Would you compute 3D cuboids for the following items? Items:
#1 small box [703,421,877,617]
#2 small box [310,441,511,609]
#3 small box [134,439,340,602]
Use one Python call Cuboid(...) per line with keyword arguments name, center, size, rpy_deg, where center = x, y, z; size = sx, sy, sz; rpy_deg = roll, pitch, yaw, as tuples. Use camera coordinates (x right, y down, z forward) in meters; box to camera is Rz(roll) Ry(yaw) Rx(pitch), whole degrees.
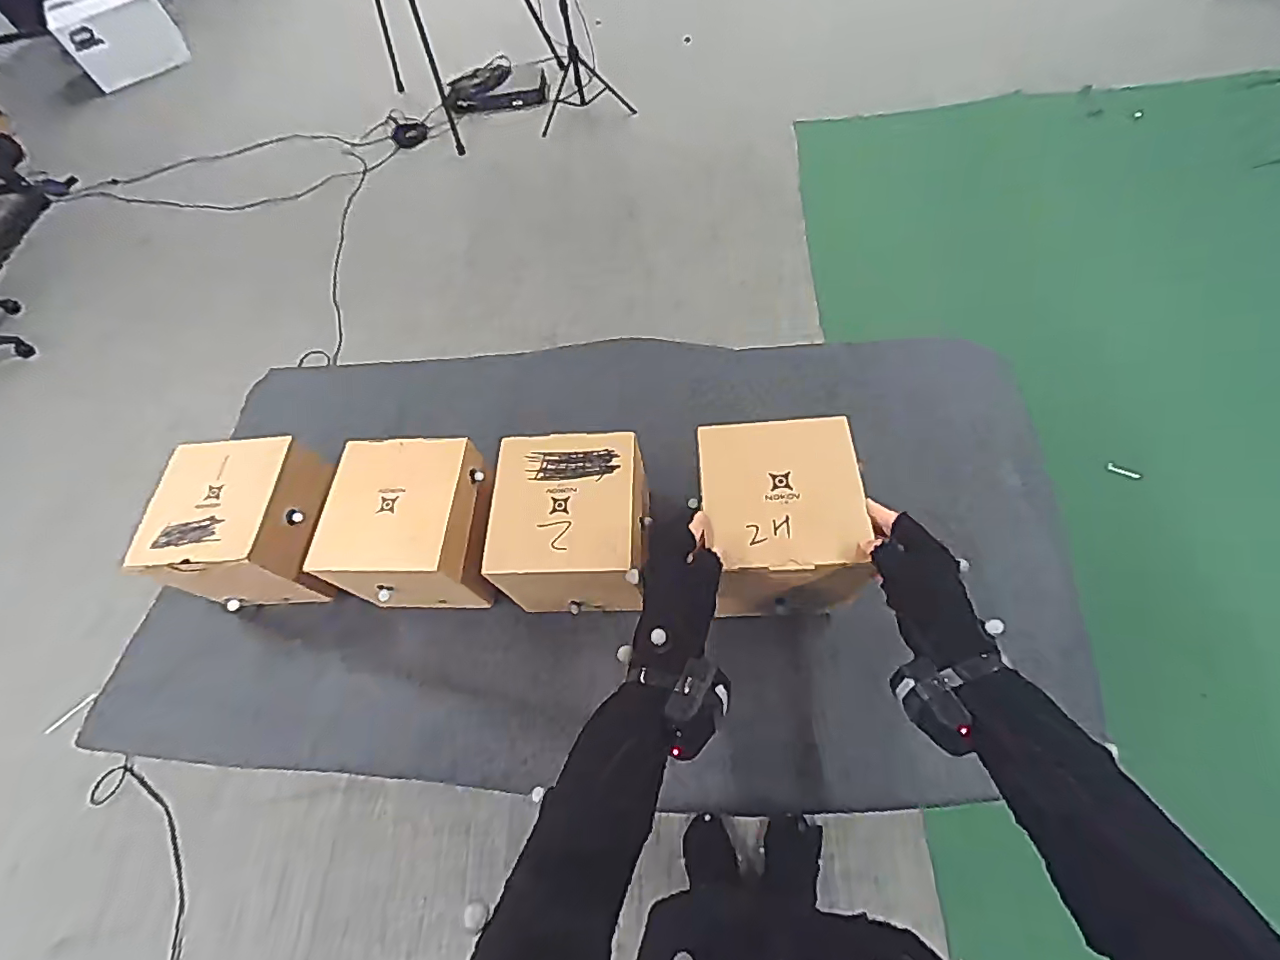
Cuboid(name="small box", center=(0.159, 0.051, 0.637), size=(0.168, 0.176, 0.179), rpy_deg=(-3, 60, 7))
Cuboid(name="small box", center=(-0.284, 0.067, 0.716), size=(0.168, 0.176, 0.179), rpy_deg=(-1, 61, 8))
Cuboid(name="small box", center=(-0.517, 0.065, 0.748), size=(0.168, 0.176, 0.179), rpy_deg=(-4, 60, 6))
